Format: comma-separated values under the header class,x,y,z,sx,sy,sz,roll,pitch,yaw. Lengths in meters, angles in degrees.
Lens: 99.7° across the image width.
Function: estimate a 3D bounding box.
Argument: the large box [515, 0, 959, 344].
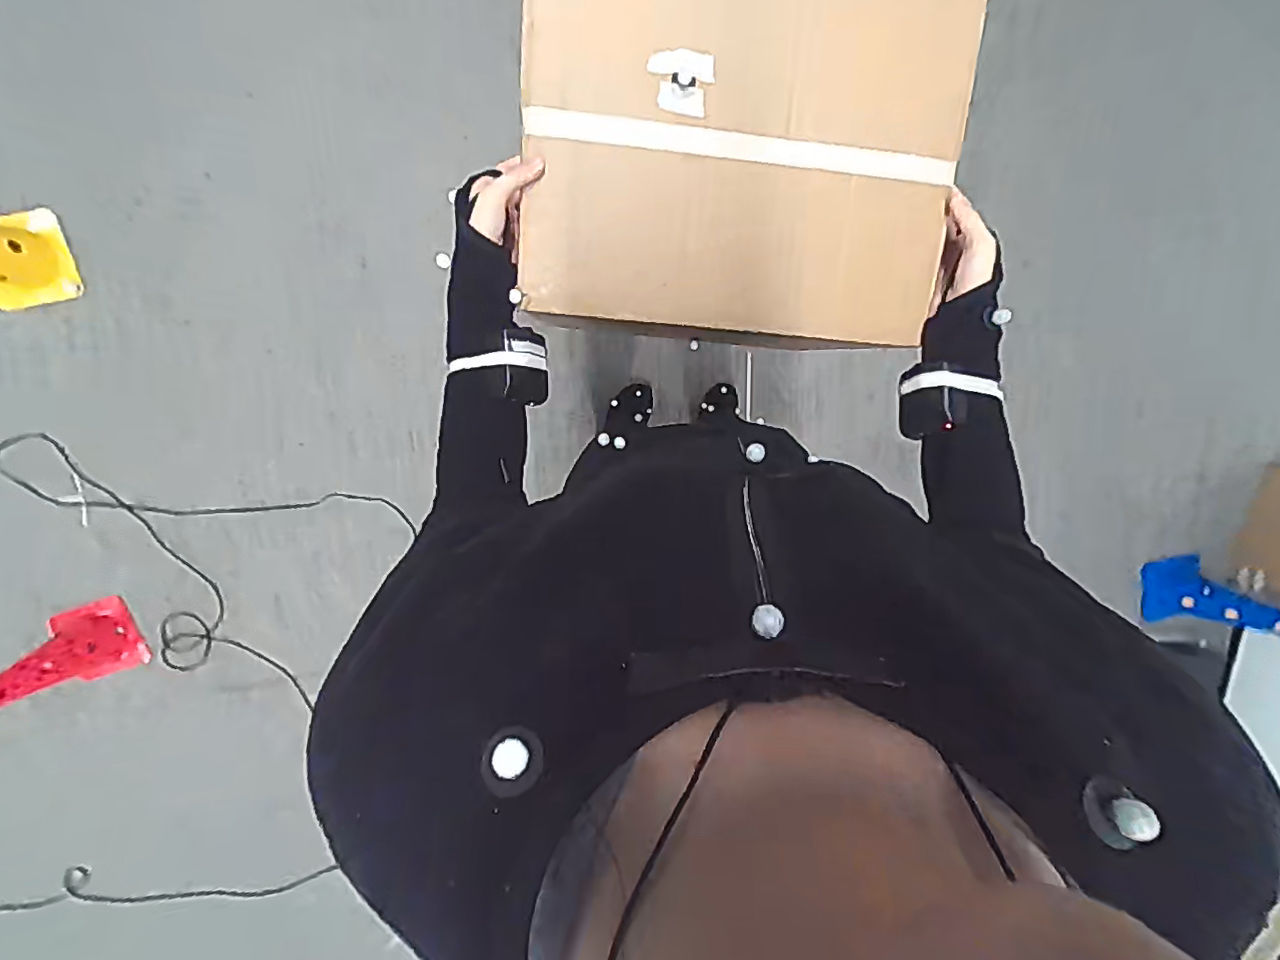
class,x,y,z,sx,sy,sz,roll,pitch,yaw
large box,0.076,-0.333,0.651,0.408,0.320,0.320,3,101,-6
